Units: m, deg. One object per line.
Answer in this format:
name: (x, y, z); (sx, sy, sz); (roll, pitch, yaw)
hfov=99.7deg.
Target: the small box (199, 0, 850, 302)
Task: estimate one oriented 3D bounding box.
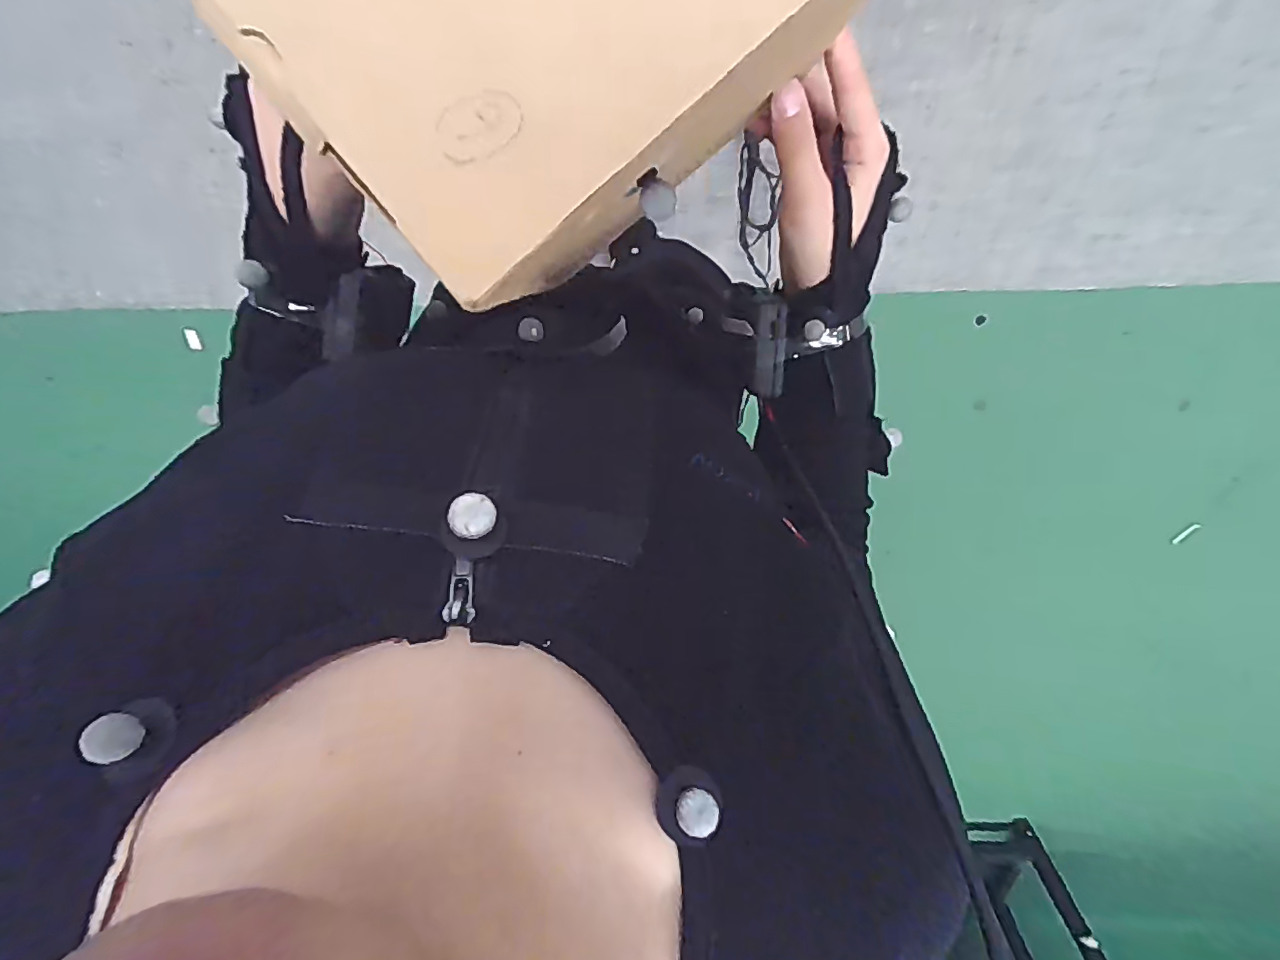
small box: (-0.034, -0.191, 0.206); (0.179, 0.176, 0.168); (-35, 106, 15)
